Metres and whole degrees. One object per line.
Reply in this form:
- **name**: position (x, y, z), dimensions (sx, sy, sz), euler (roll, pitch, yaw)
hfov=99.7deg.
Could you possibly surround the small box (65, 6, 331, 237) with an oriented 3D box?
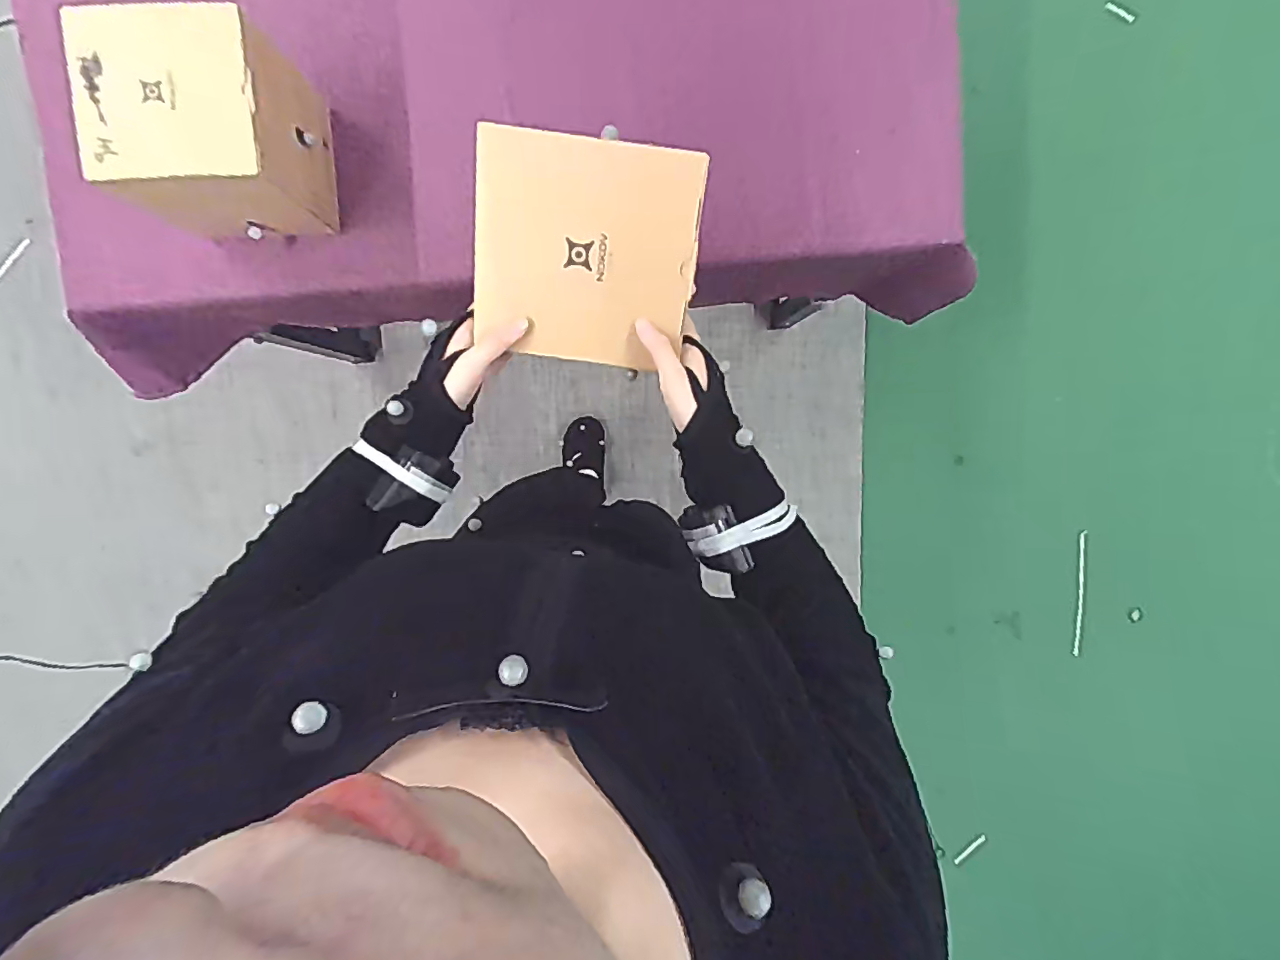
- **small box**: position (-0.482, -0.394, 0.624), dimensions (0.179, 0.176, 0.168), euler (-3, 95, -3)

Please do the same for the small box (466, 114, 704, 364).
- **small box**: position (-0.047, -0.210, 0.504), dimensions (0.179, 0.176, 0.168), euler (7, 109, -2)
